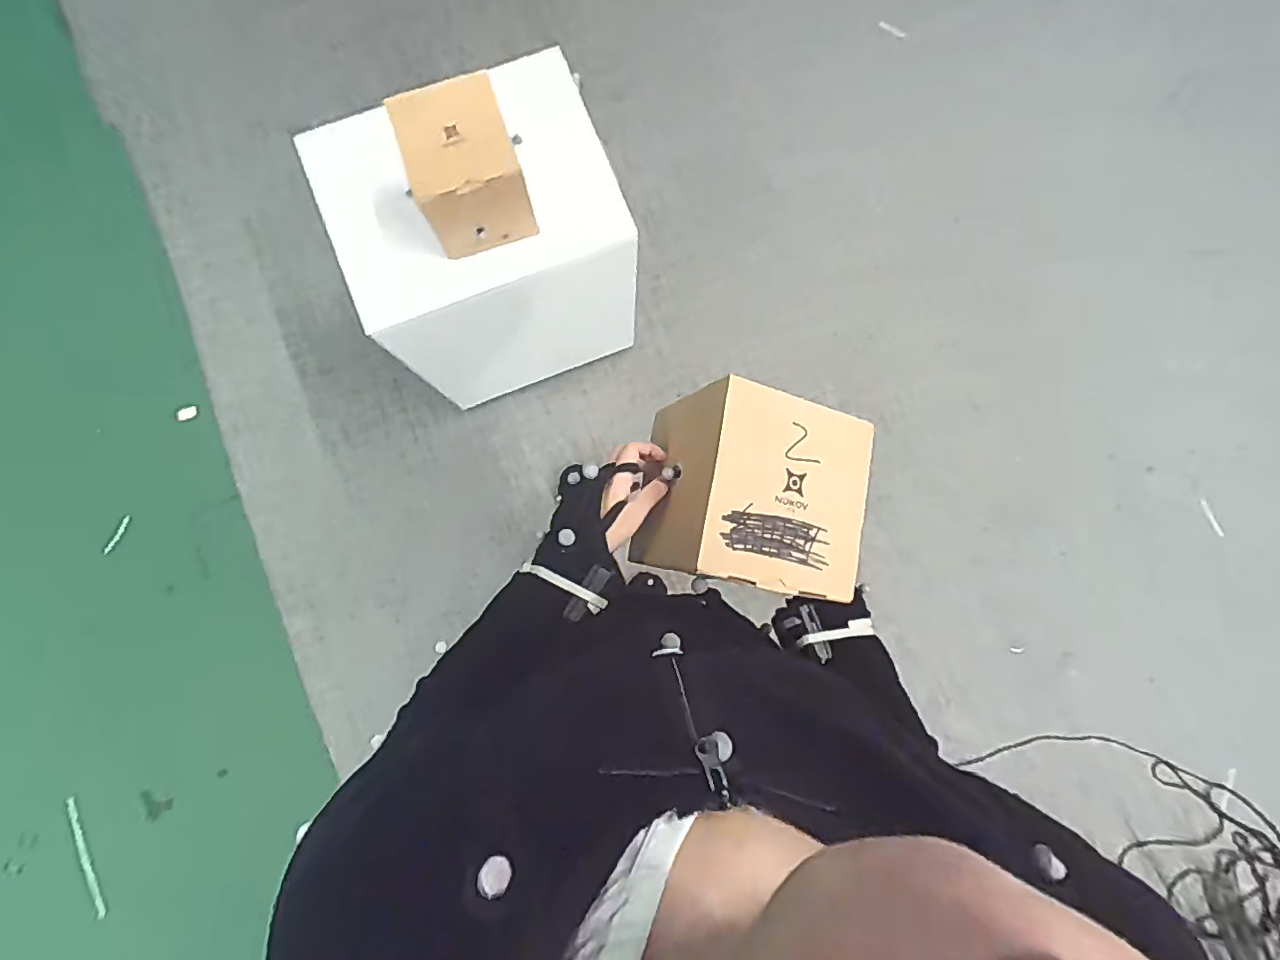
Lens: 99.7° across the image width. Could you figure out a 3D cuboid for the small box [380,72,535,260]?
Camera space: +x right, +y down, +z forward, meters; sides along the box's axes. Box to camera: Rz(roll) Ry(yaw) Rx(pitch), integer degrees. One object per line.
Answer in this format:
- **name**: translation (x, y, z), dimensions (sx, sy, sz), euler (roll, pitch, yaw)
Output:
- **small box**: translation (-0.282, -0.494, 0.870), dimensions (0.168, 0.176, 0.179), euler (-20, 83, -3)
